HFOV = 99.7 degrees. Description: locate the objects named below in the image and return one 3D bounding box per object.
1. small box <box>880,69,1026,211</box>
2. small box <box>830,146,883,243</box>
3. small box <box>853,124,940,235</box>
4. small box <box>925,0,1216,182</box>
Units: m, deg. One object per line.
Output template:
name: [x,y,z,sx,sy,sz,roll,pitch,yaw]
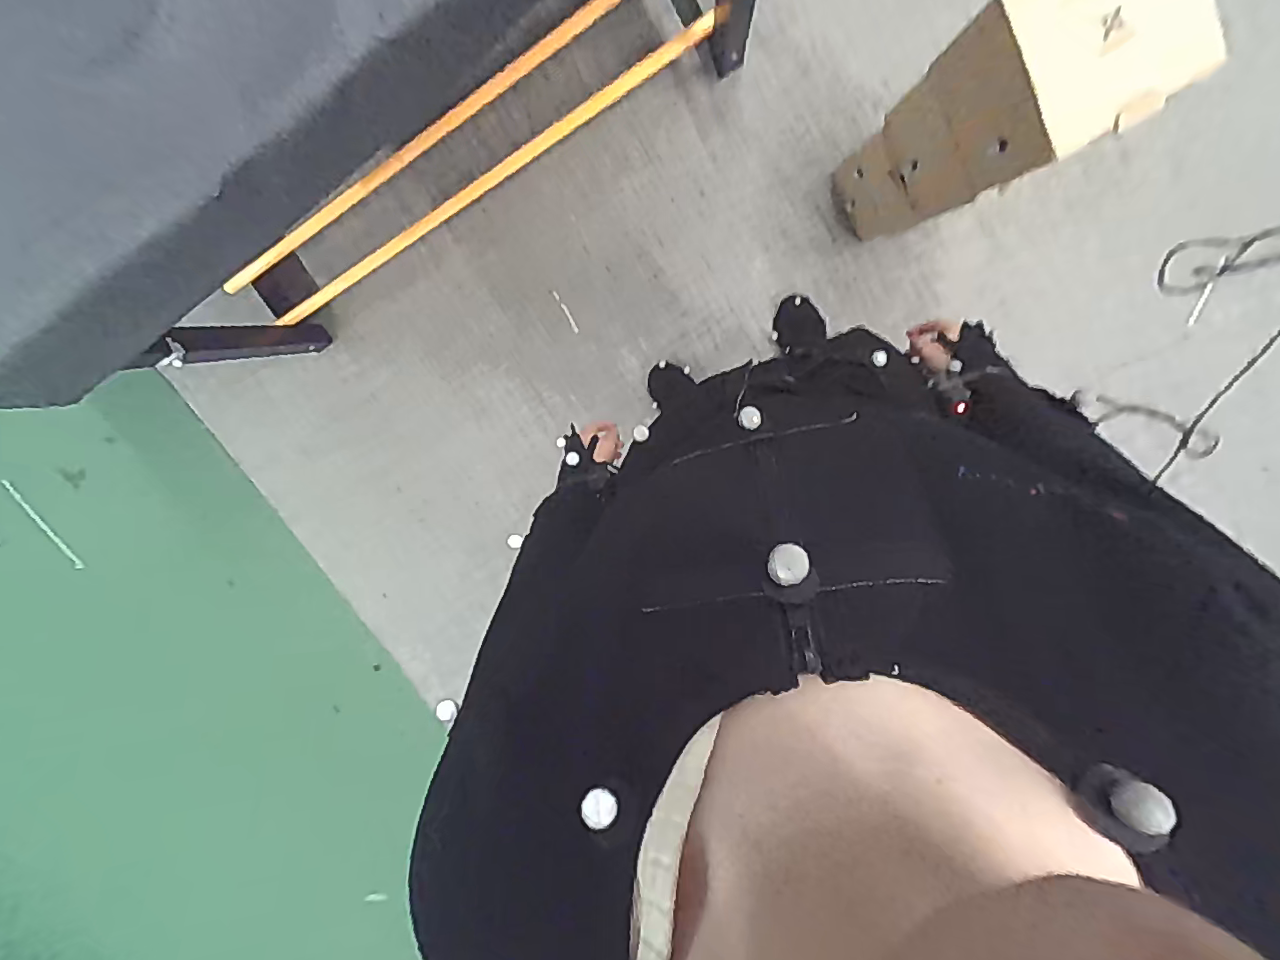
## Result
small box: [0.474,-0.507,0.764,0.168,0.176,0.179,-29,103,11]
small box: [0.508,-0.601,1.078,0.179,0.176,0.168,-28,101,12]
small box: [0.487,-0.546,0.924,0.179,0.176,0.168,-30,102,11]
small box: [0.461,-0.467,0.608,0.168,0.176,0.179,-30,101,12]
